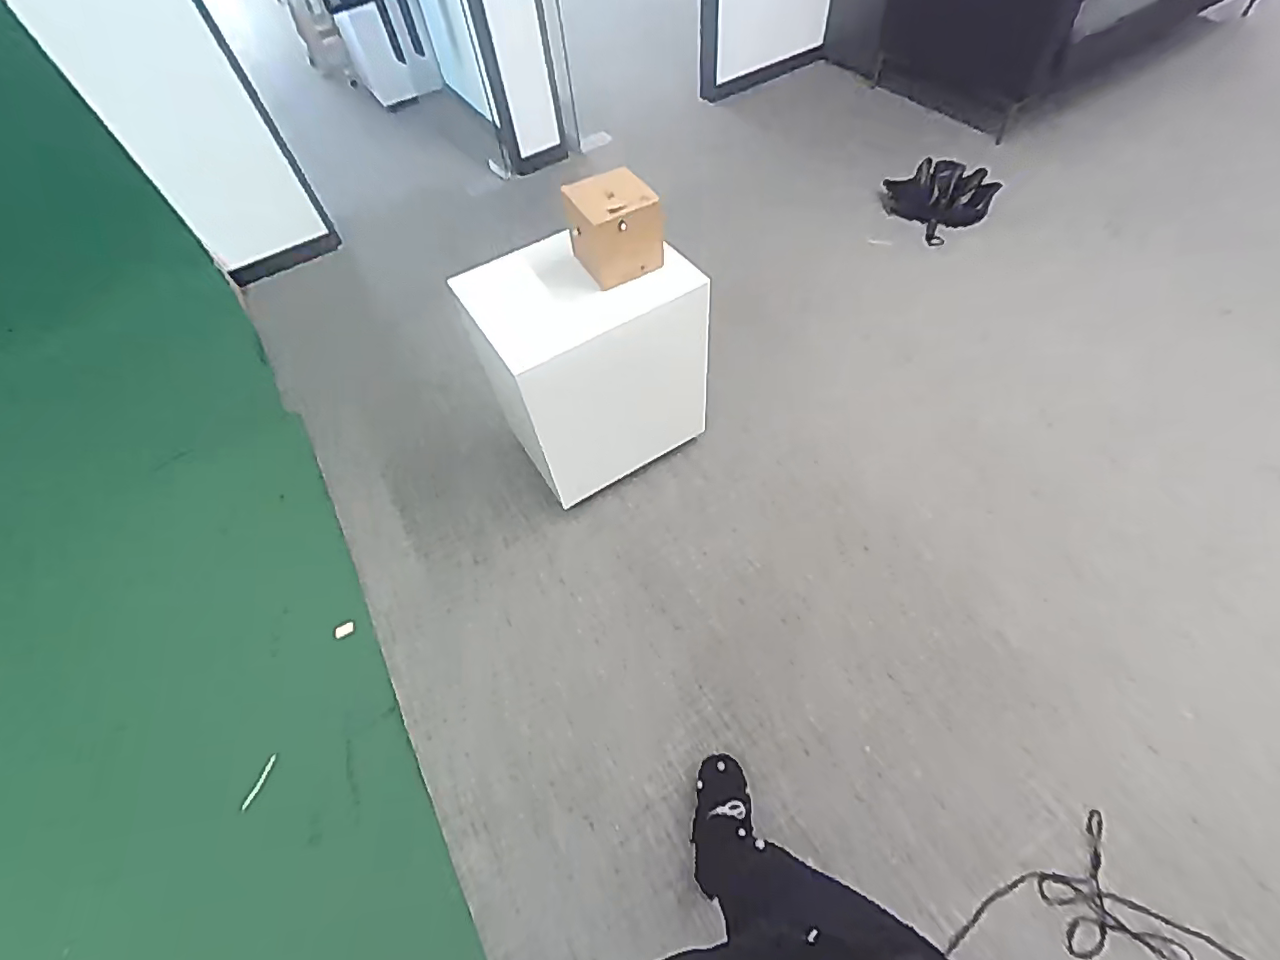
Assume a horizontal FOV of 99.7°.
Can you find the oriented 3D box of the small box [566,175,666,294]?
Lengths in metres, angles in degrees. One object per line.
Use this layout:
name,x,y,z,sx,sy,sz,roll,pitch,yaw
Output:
small box,-0.053,-0.566,1.256,0.168,0.176,0.179,-27,57,-11
